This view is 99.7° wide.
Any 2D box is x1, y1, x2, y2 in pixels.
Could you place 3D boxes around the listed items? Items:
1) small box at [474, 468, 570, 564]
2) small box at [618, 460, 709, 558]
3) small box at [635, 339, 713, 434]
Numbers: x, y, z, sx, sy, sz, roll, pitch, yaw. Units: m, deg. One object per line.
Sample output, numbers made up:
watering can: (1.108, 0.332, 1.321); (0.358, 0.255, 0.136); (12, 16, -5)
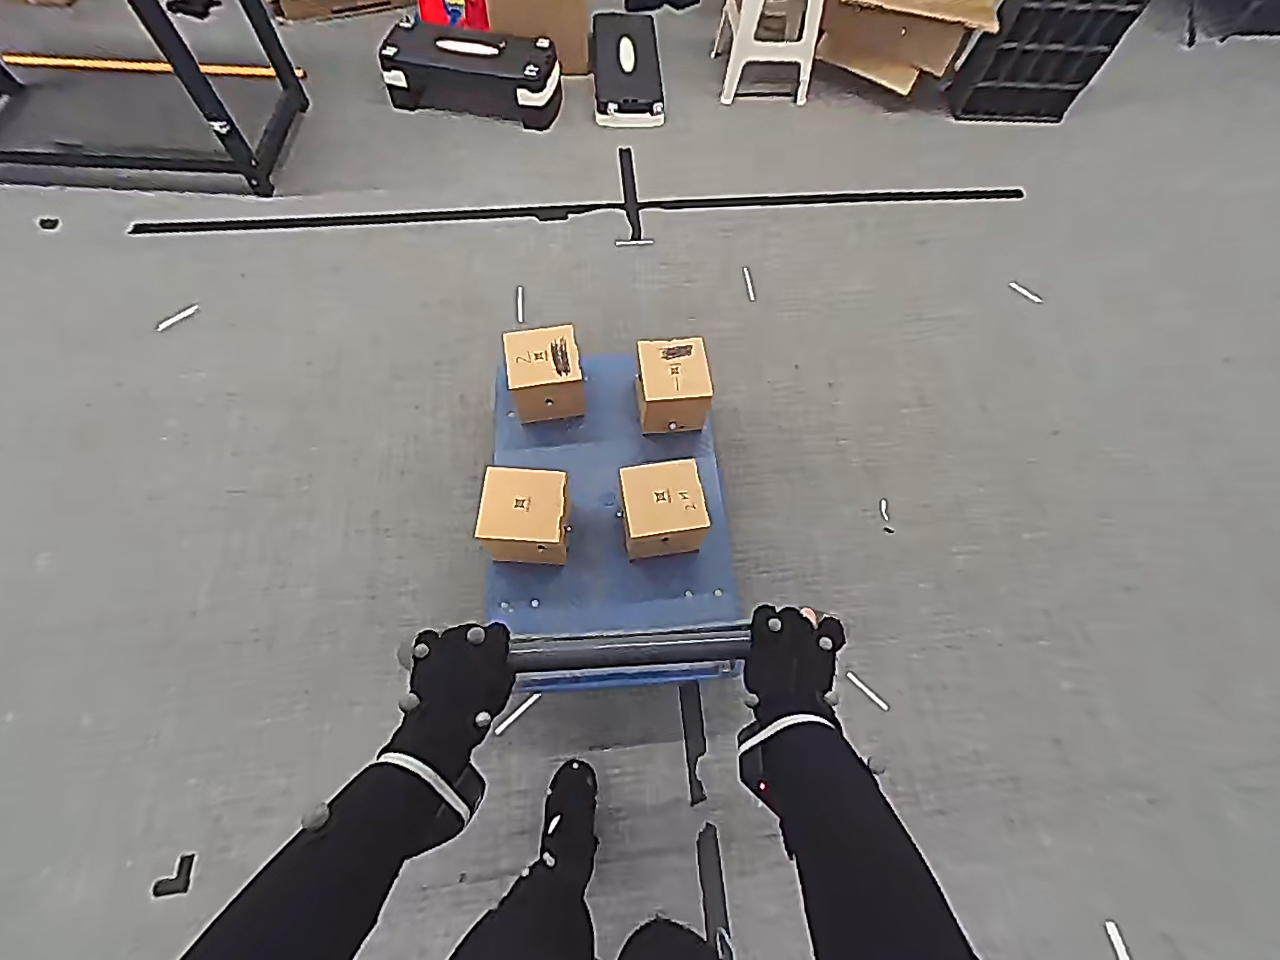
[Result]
small box: (-0.256, 0.086, 1.216); (0.179, 0.176, 0.168); (4, 65, -3)
small box: (0.046, 0.072, 1.237); (0.179, 0.176, 0.168); (-7, 67, -6)
small box: (0.079, -0.236, 1.377); (0.168, 0.176, 0.179); (-5, 67, -5)
